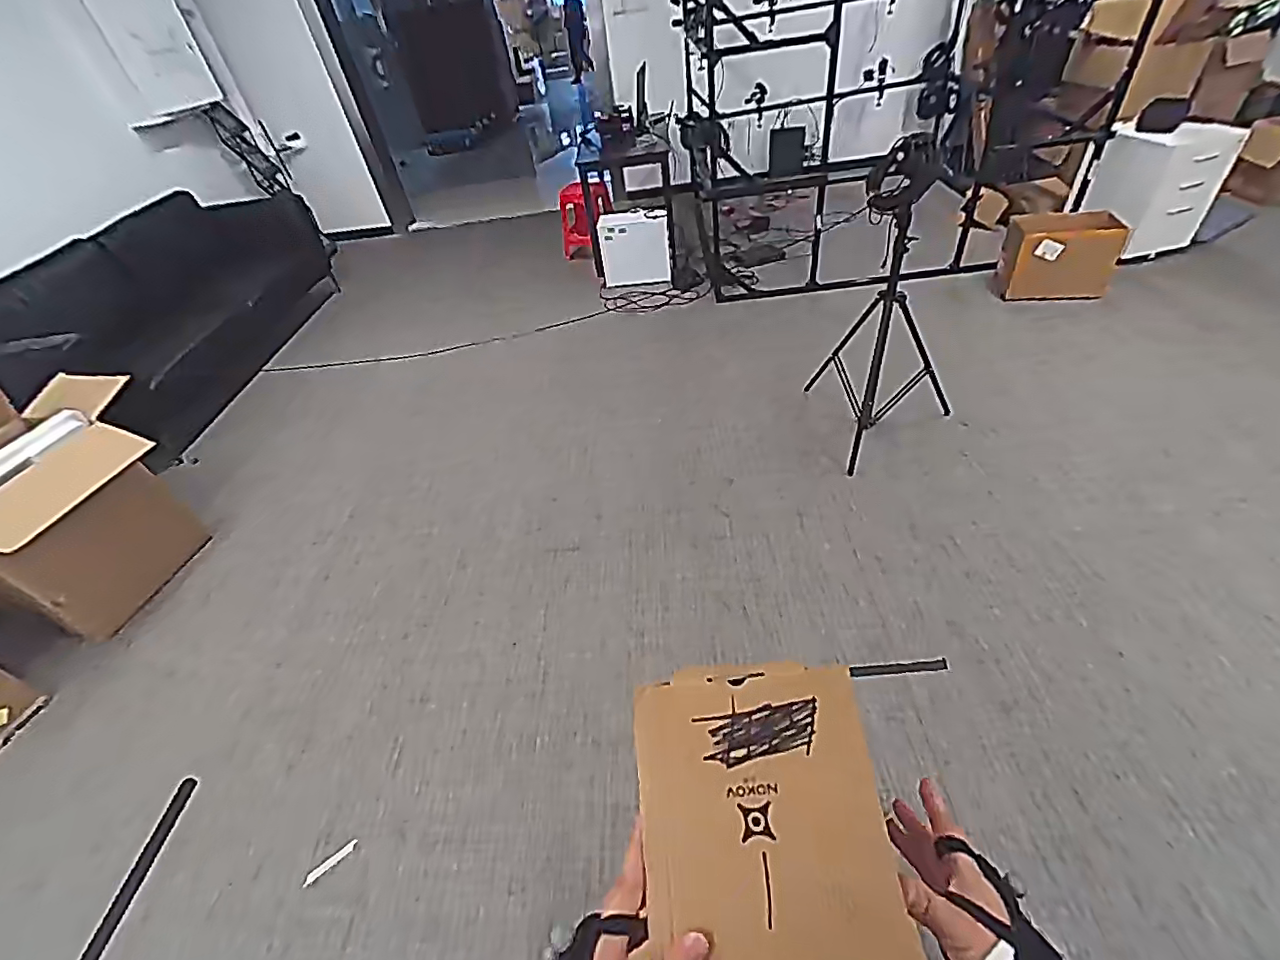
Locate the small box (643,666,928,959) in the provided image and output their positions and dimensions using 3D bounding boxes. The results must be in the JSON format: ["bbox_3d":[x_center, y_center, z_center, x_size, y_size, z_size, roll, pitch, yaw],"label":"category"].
[{"bbox_3d":[0.102,0.263,0.435,0.168,0.176,0.179,-10,59,9],"label":"small box"}]
